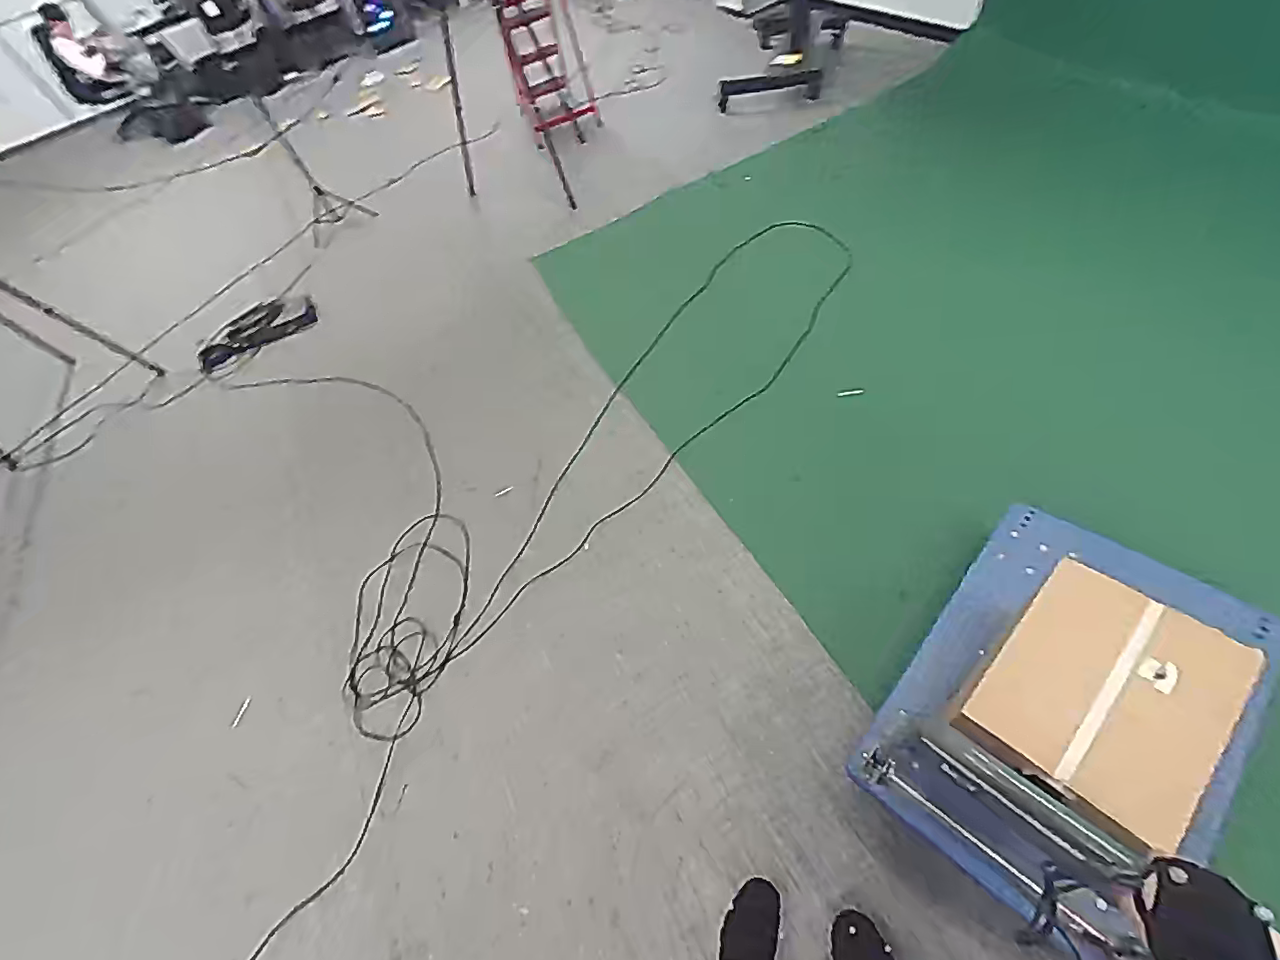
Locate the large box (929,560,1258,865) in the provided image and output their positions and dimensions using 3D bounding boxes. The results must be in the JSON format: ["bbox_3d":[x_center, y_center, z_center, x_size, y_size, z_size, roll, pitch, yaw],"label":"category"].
[{"bbox_3d":[0.837,0.447,1.050,0.408,0.320,0.320,-43,57,-18],"label":"large box"}]
